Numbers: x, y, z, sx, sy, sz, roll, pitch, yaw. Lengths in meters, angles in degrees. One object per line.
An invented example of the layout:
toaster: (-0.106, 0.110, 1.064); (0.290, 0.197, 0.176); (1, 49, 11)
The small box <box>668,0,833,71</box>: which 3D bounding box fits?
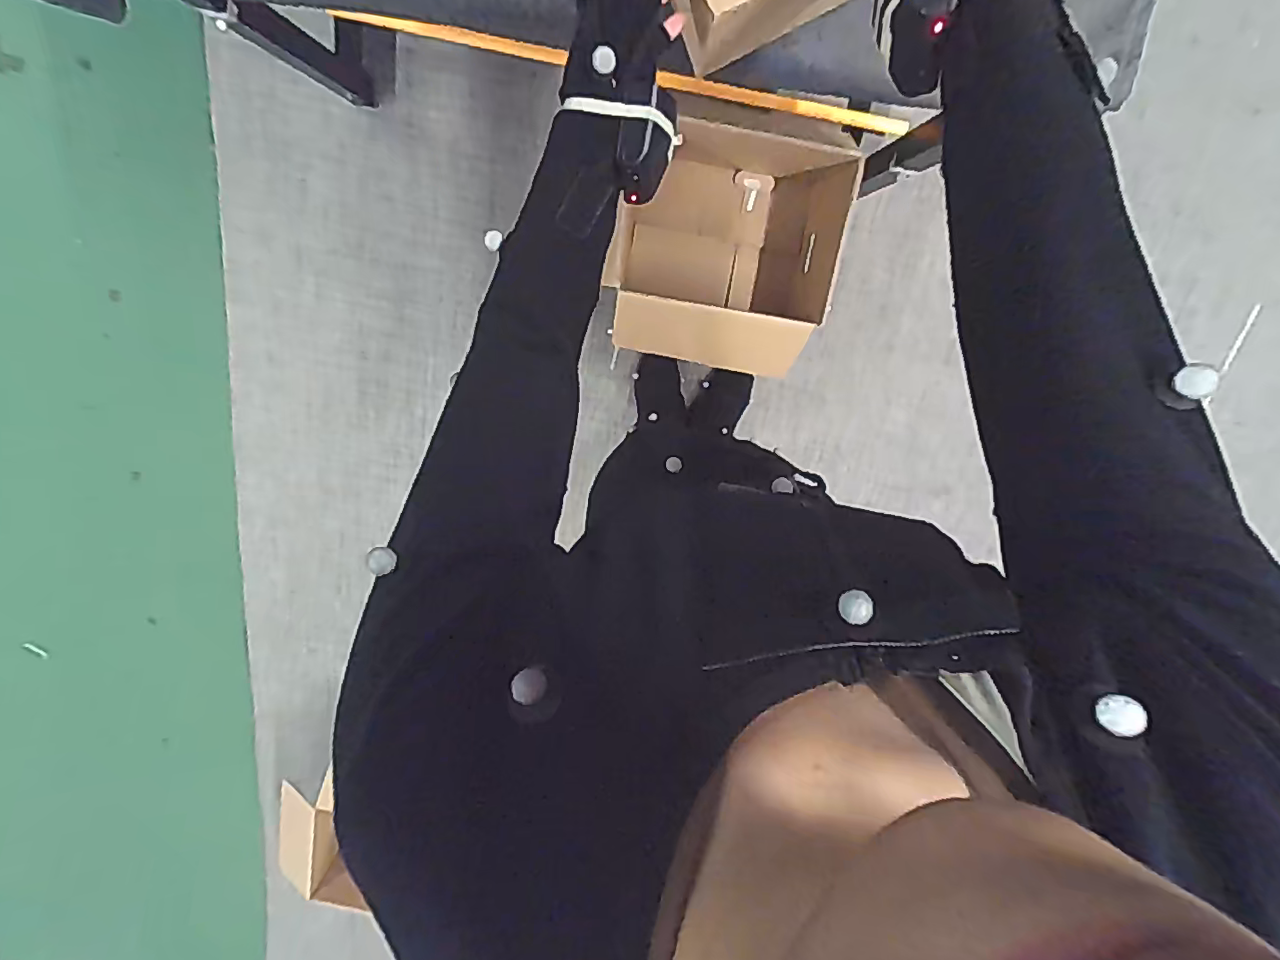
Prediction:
small box: (0.101, -0.493, 0.455); (0.179, 0.176, 0.168); (-22, 112, 12)
